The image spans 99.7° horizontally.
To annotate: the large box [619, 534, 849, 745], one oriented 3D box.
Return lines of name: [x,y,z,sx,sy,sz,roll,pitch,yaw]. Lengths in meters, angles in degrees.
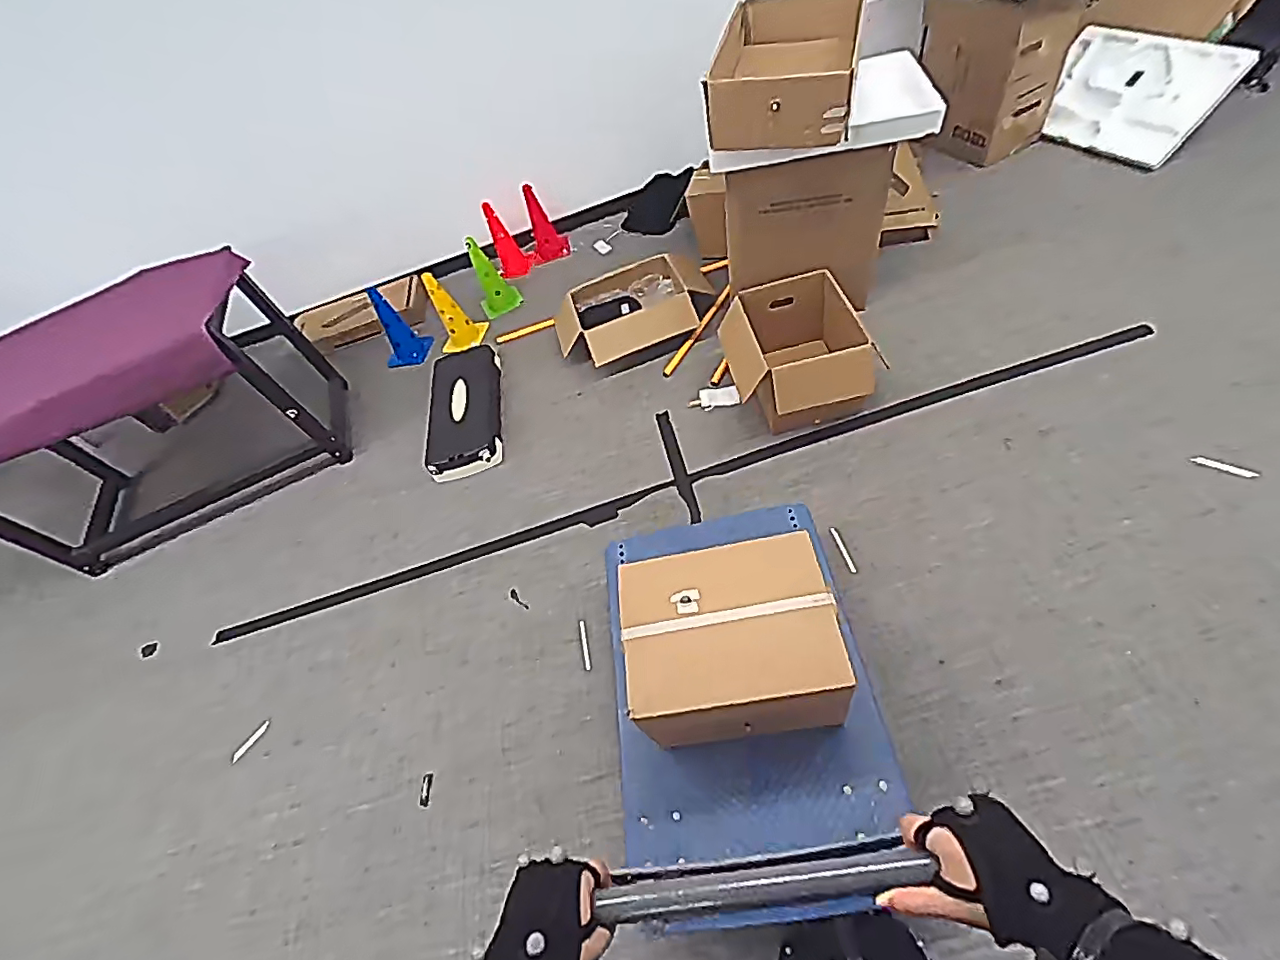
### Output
large box: [0.198,0.360,1.177,0.408,0.320,0.320,-13,52,8]
